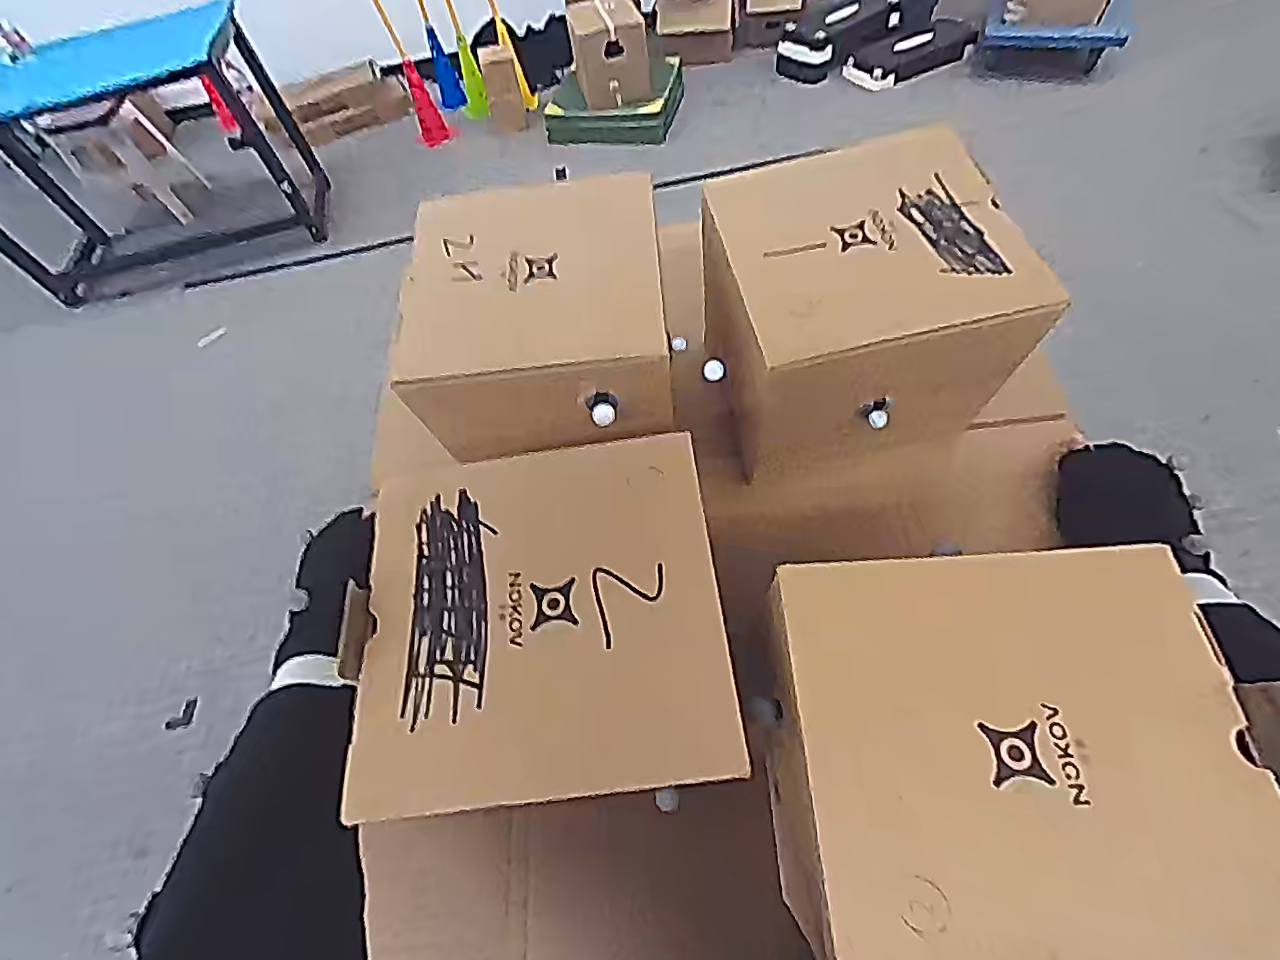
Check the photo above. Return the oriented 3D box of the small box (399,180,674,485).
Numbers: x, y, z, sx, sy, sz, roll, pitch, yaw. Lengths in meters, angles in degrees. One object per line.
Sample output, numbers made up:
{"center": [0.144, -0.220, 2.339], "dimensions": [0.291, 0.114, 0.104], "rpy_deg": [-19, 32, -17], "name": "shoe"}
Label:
{"center": [-0.064, -0.107, 0.446], "dimensions": [0.179, 0.176, 0.168], "rpy_deg": [-6, 64, 5], "name": "small box"}
